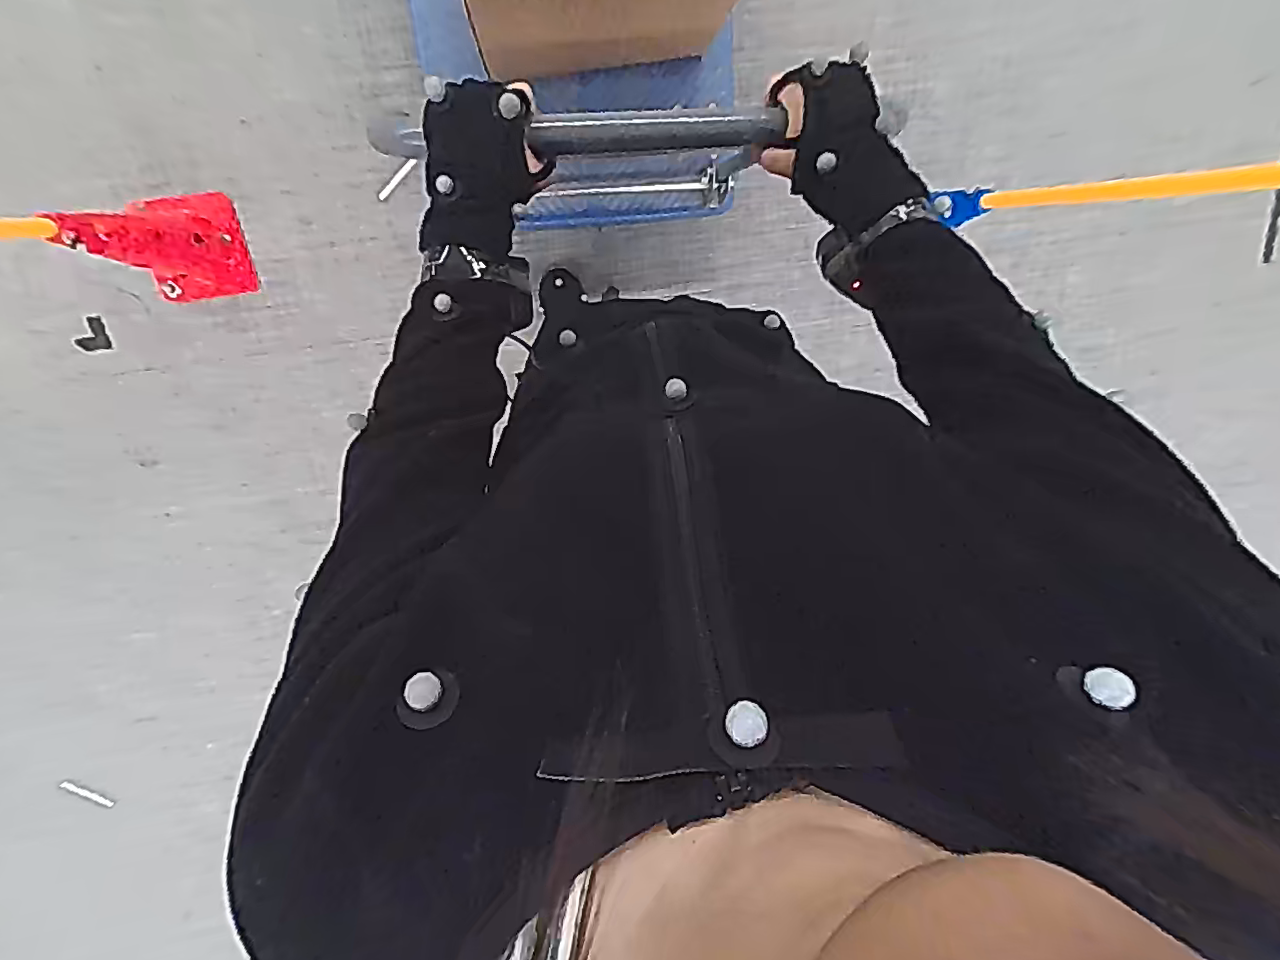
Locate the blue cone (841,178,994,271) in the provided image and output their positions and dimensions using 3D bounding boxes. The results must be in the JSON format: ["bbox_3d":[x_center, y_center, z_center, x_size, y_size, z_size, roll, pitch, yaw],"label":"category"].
[{"bbox_3d":[0.614,-0.578,1.176,0.193,0.380,0.192,-13,108,-5],"label":"blue cone"}]
